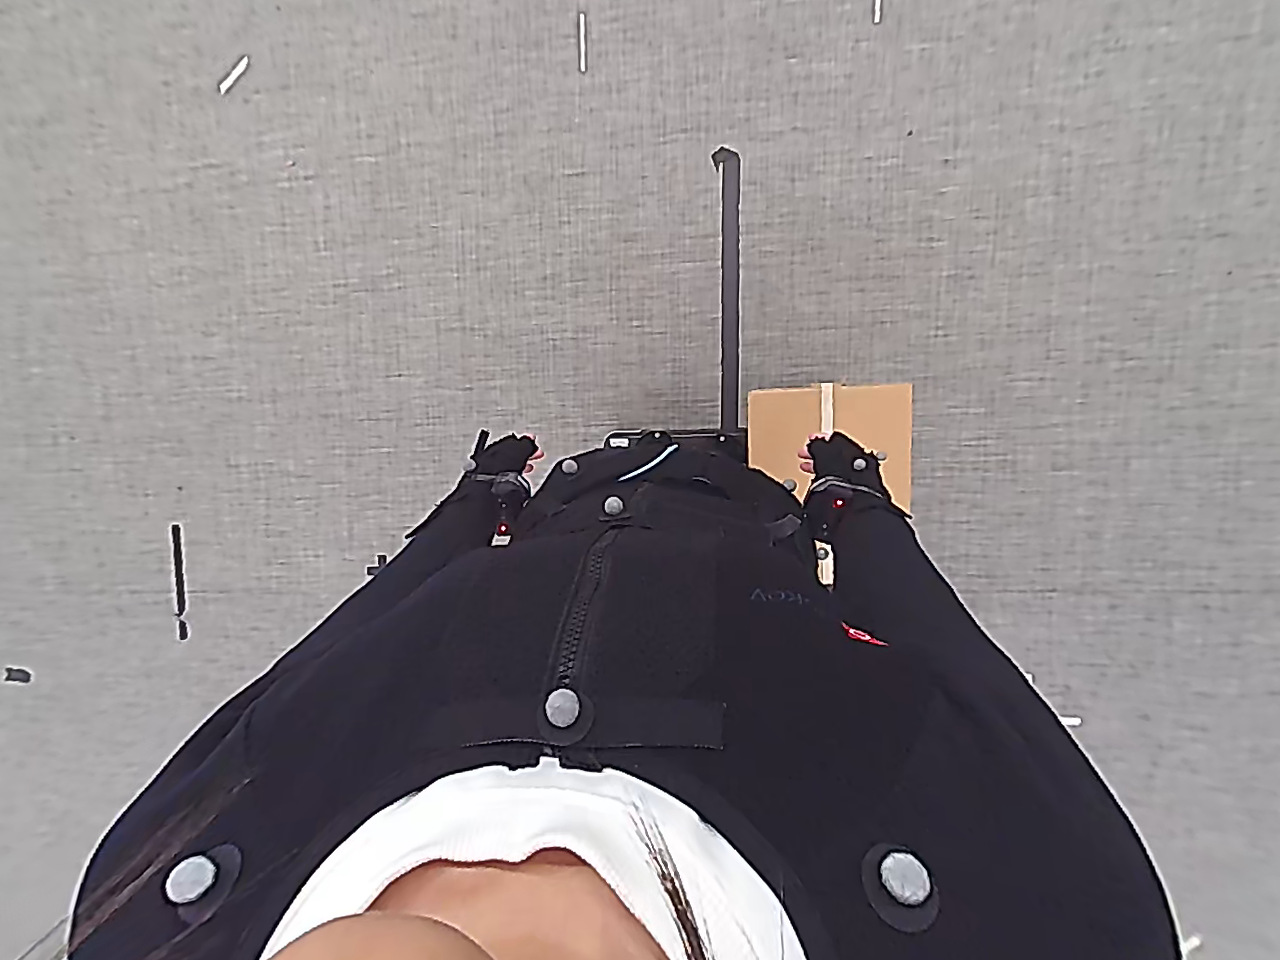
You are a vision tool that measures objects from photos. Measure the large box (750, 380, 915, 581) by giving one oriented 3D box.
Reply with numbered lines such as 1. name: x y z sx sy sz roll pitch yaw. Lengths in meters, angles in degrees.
1. large box: 0.420 -0.011 1.239 0.320 0.320 0.408 -1 97 14
